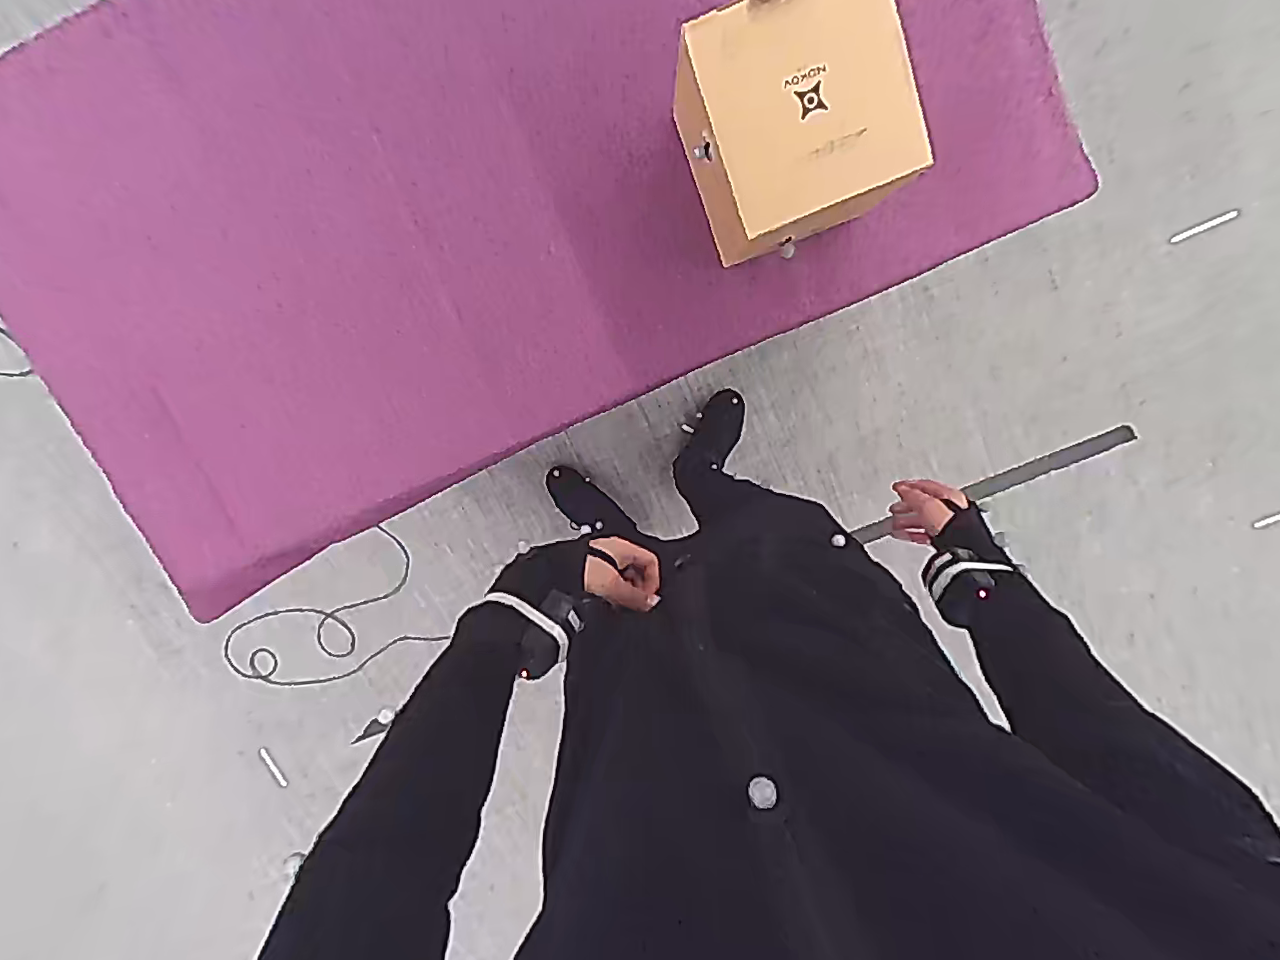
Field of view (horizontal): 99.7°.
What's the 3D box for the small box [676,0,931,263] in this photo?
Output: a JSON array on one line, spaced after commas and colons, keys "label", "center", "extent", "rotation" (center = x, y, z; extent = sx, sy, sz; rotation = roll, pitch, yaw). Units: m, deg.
[{"label": "small box", "center": [0.137, -0.332, 0.514], "extent": [0.168, 0.176, 0.179], "rotation": [-19, 101, 6]}]
